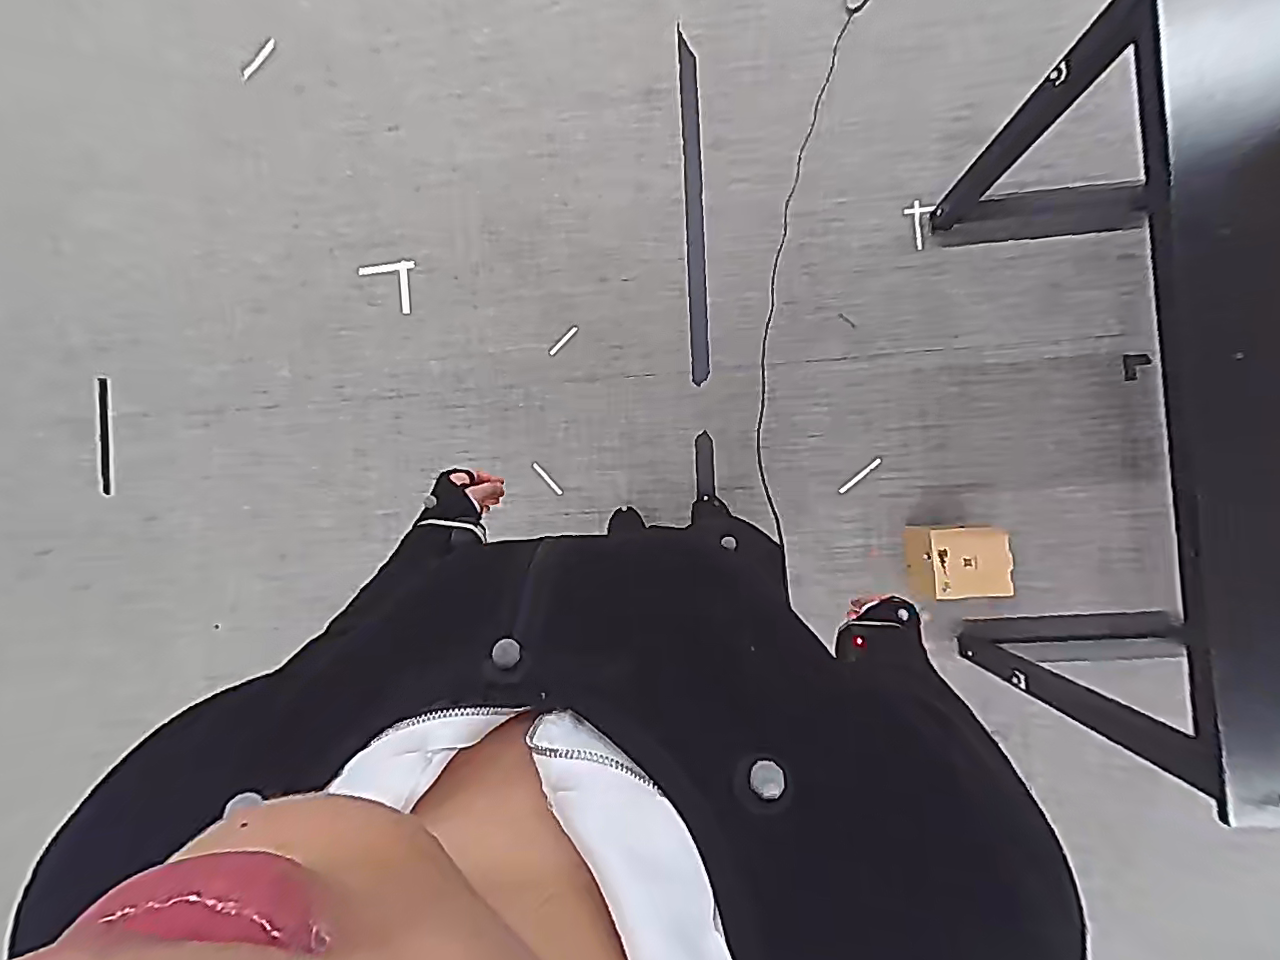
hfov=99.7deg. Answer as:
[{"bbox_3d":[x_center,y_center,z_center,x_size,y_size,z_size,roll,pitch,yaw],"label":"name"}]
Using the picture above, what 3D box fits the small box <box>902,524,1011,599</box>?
[{"bbox_3d":[0.782,0.198,1.351,0.179,0.176,0.168,-4,87,4],"label":"small box"}]
